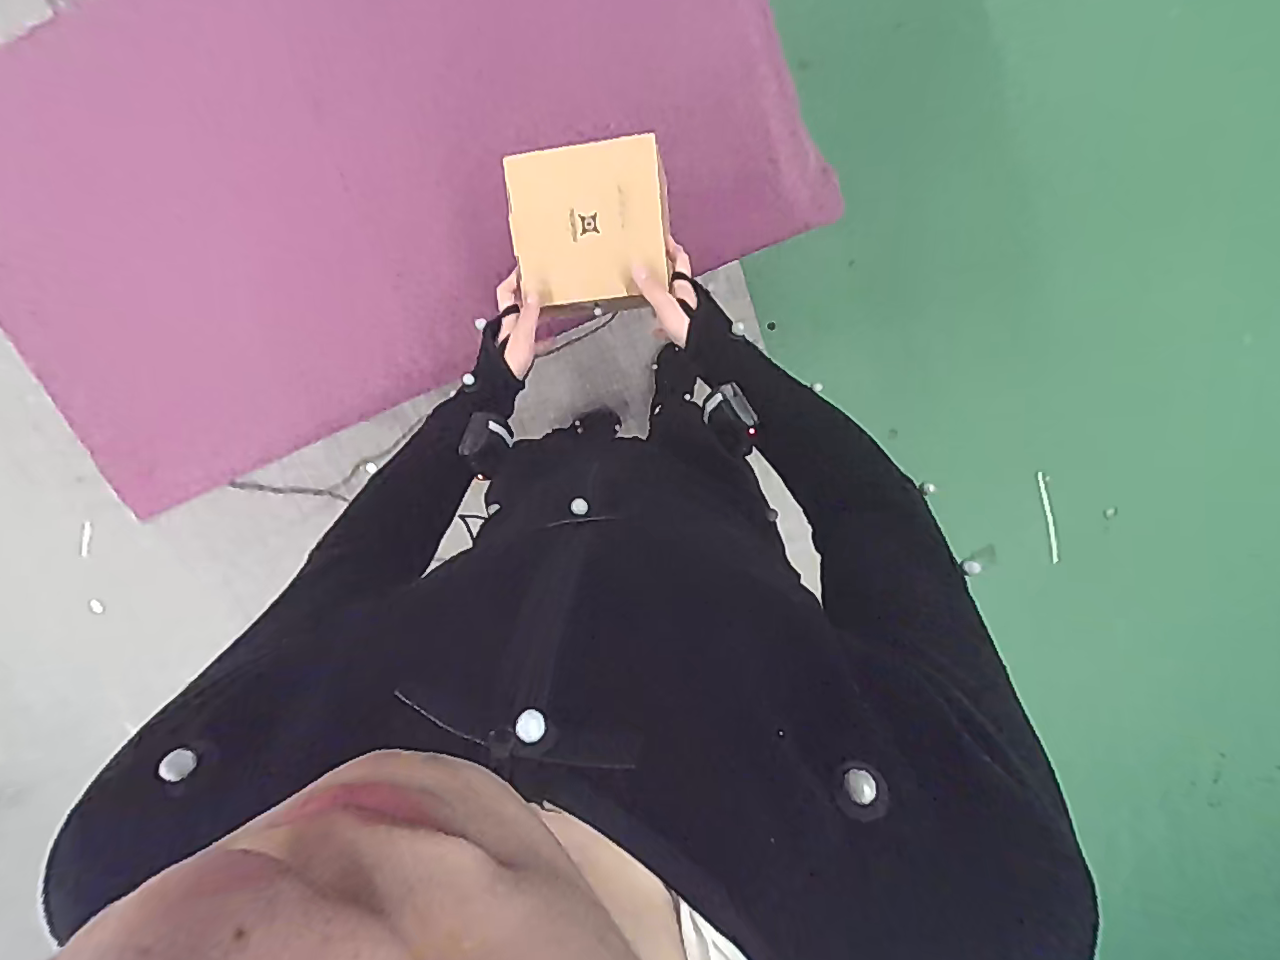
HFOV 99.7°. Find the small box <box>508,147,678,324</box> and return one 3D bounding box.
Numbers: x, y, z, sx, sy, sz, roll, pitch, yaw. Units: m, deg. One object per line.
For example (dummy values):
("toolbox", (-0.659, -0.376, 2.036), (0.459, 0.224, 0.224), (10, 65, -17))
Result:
("small box", (-0.047, -0.294, 0.688), (0.179, 0.176, 0.168), (-3, 103, 7))
